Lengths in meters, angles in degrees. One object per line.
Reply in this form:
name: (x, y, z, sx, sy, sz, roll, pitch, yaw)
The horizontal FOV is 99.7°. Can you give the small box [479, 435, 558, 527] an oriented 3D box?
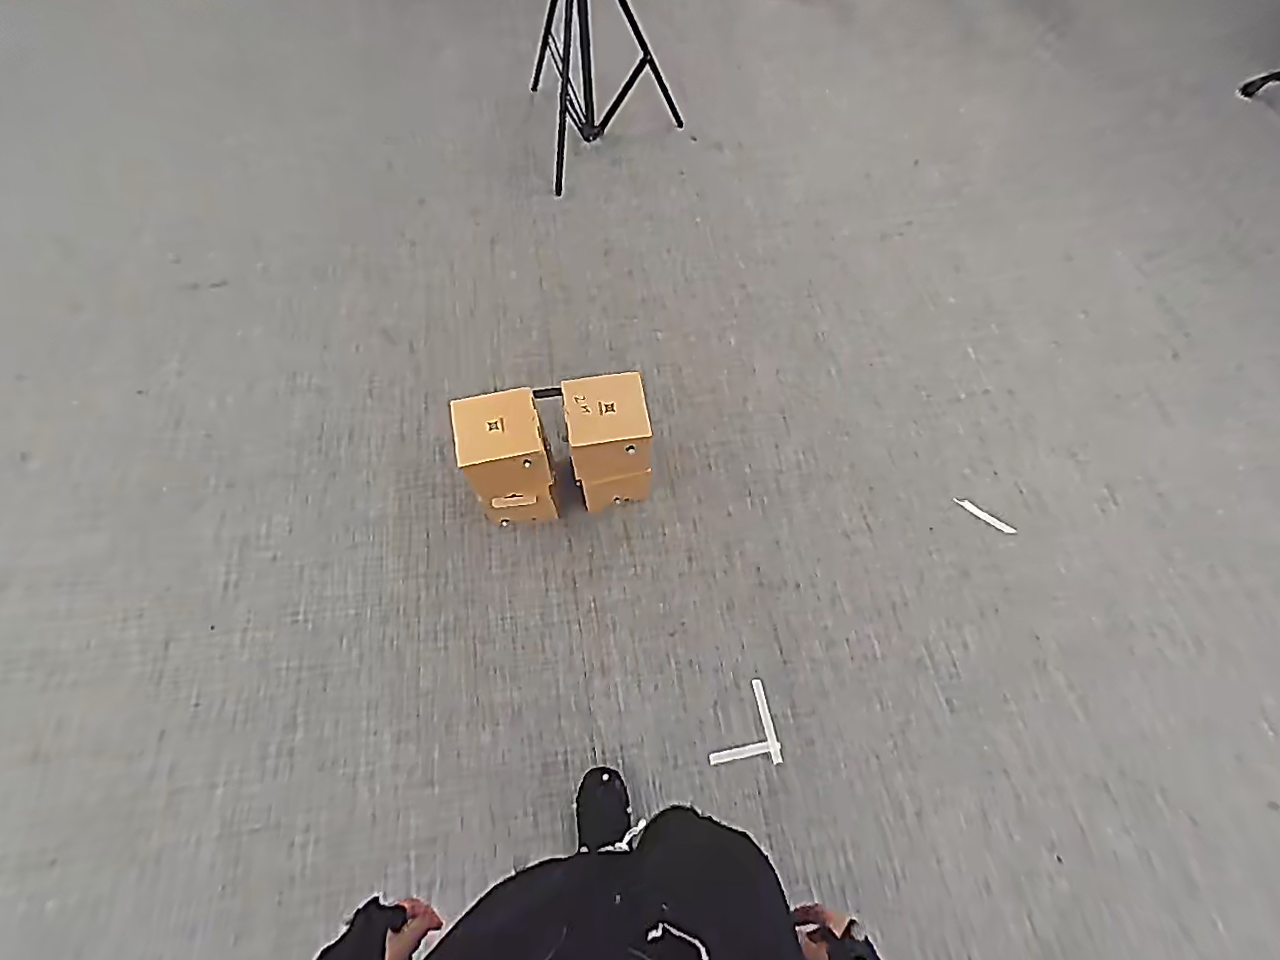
small box: (-0.298, 0.011, 1.346, 0.168, 0.176, 0.179, -6, 65, -4)
